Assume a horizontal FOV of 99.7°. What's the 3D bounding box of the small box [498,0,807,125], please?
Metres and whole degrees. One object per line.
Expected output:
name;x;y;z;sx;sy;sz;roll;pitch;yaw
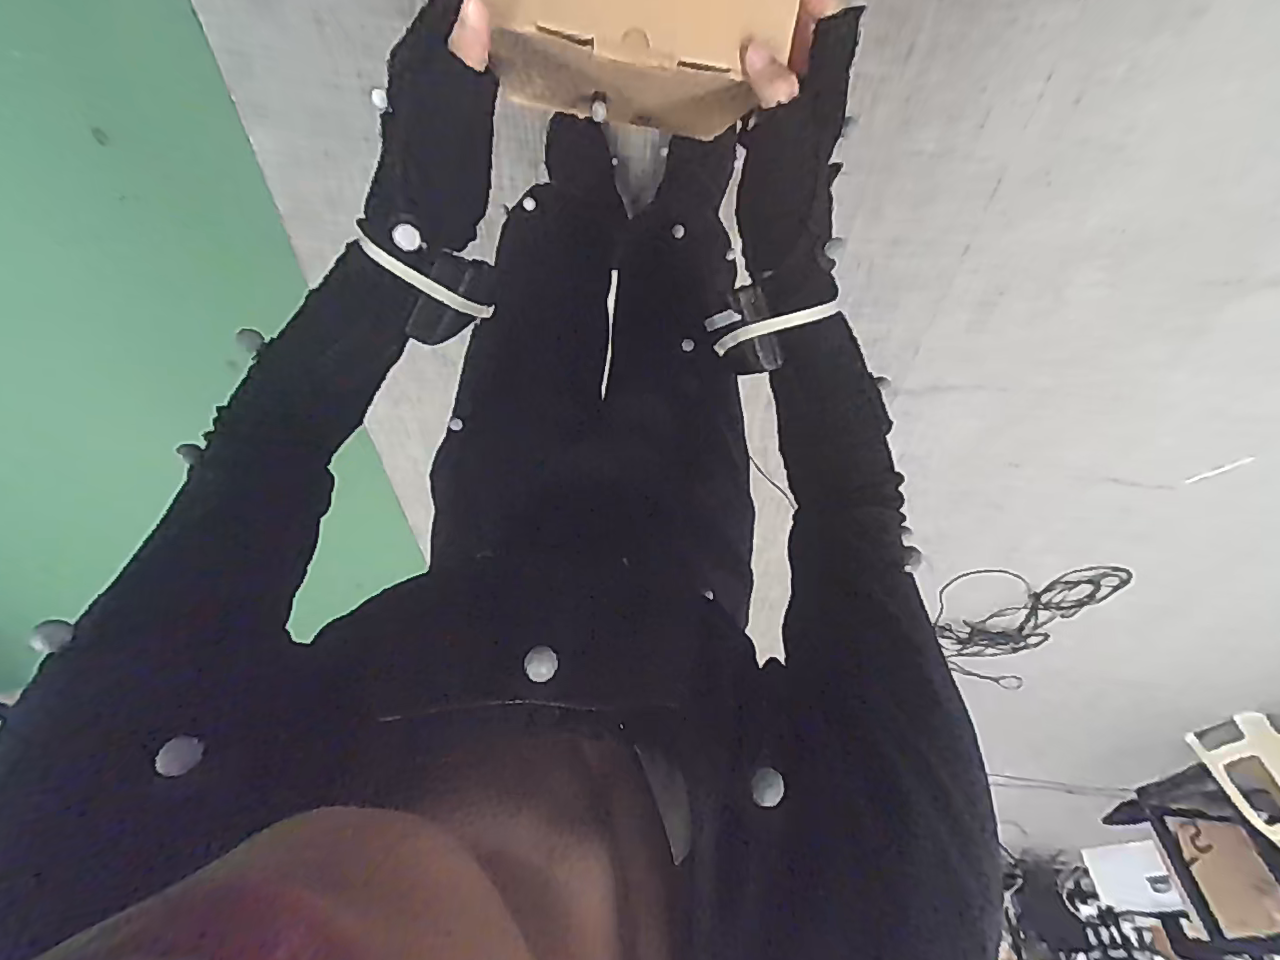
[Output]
small box;0.005;-0.339;0.316;0.168;0.176;0.179;5;112;-9
